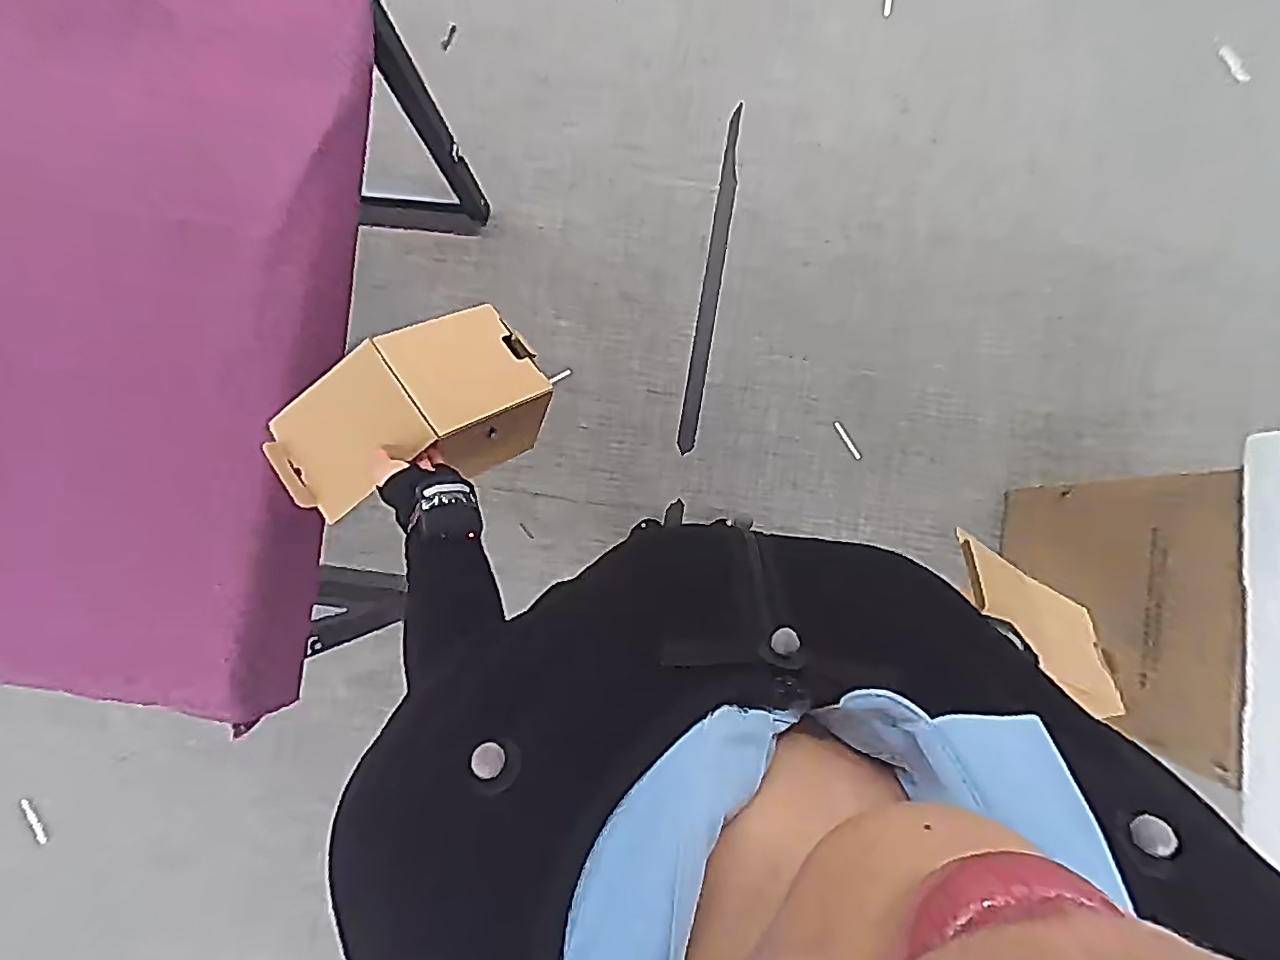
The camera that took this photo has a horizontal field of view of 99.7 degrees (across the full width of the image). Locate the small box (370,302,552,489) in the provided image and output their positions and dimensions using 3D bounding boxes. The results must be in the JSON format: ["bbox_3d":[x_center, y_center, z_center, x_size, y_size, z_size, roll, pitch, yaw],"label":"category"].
[{"bbox_3d":[-0.252,-0.114,0.765,0.179,0.176,0.168,-31,78,-32],"label":"small box"}]
